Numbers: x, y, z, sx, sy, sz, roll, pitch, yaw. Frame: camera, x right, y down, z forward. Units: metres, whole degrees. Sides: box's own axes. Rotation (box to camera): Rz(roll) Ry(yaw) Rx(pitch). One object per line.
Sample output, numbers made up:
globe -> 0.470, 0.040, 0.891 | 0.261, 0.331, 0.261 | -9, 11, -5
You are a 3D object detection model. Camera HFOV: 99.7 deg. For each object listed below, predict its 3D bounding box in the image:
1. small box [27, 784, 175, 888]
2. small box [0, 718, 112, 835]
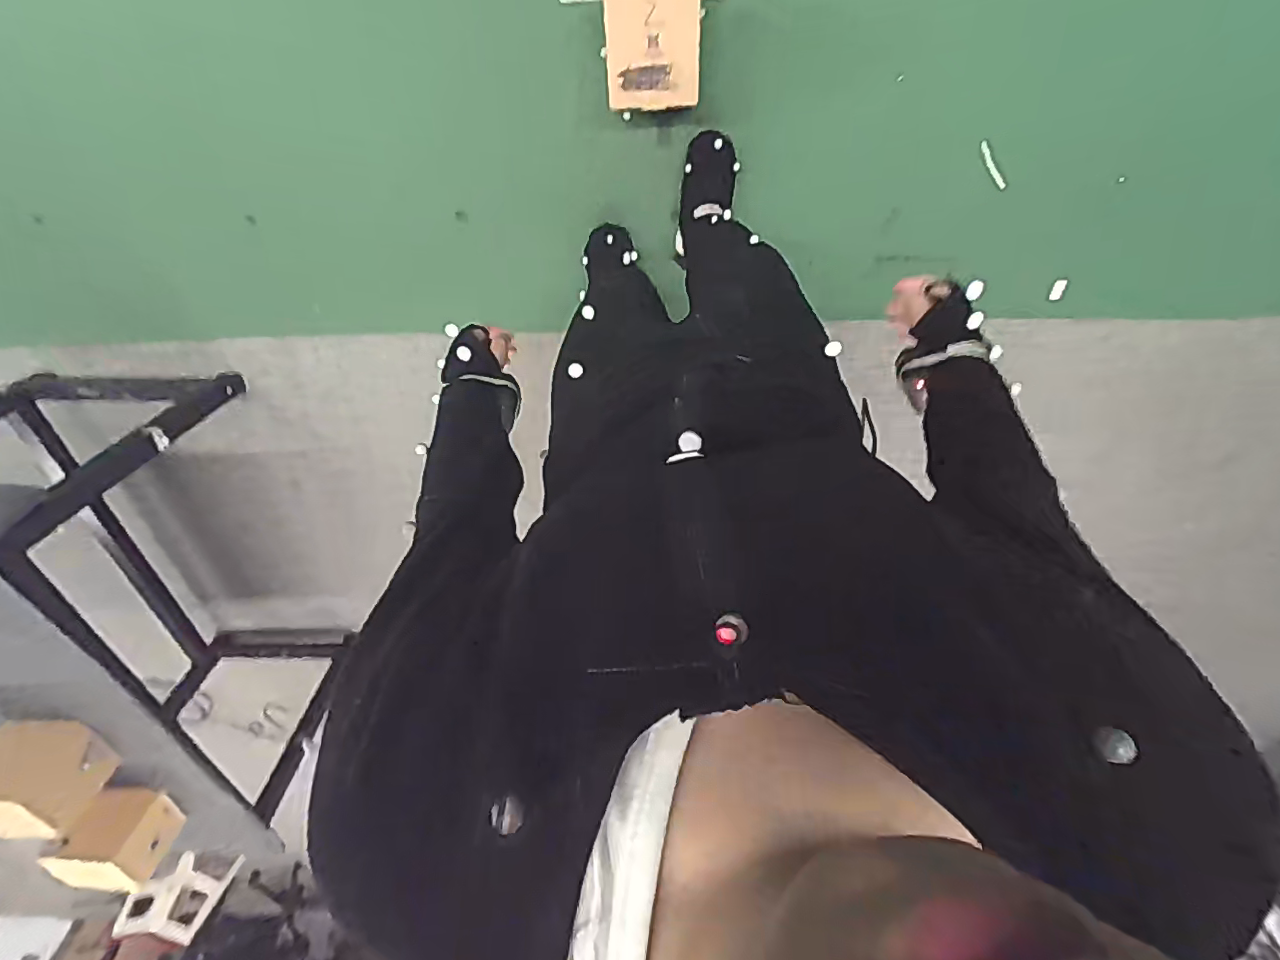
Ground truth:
small box -> -1.308, 0.876, 1.336 | 0.179, 0.176, 0.168 | 5, 126, -1
small box -> -1.319, 0.631, 1.159 | 0.179, 0.176, 0.168 | 1, 126, 1
